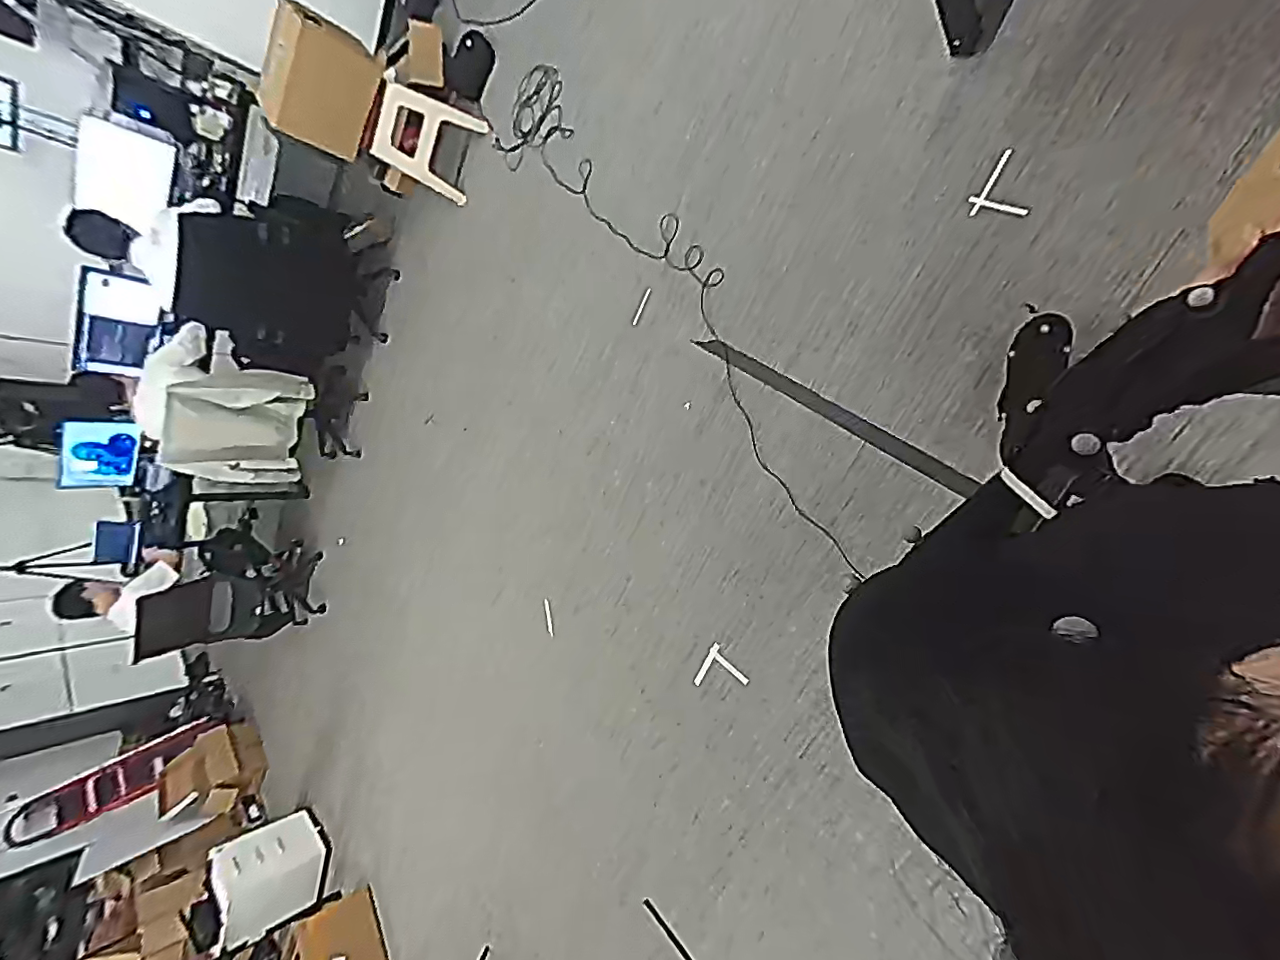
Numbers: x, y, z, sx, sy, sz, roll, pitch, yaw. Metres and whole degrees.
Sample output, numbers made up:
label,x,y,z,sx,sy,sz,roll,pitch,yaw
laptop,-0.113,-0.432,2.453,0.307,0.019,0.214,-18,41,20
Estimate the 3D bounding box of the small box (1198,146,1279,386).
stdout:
label,x,y,z,sx,sy,sz,roll,pitch,yaw
small box,0.516,-0.161,0.341,0.179,0.176,0.168,10,81,28
